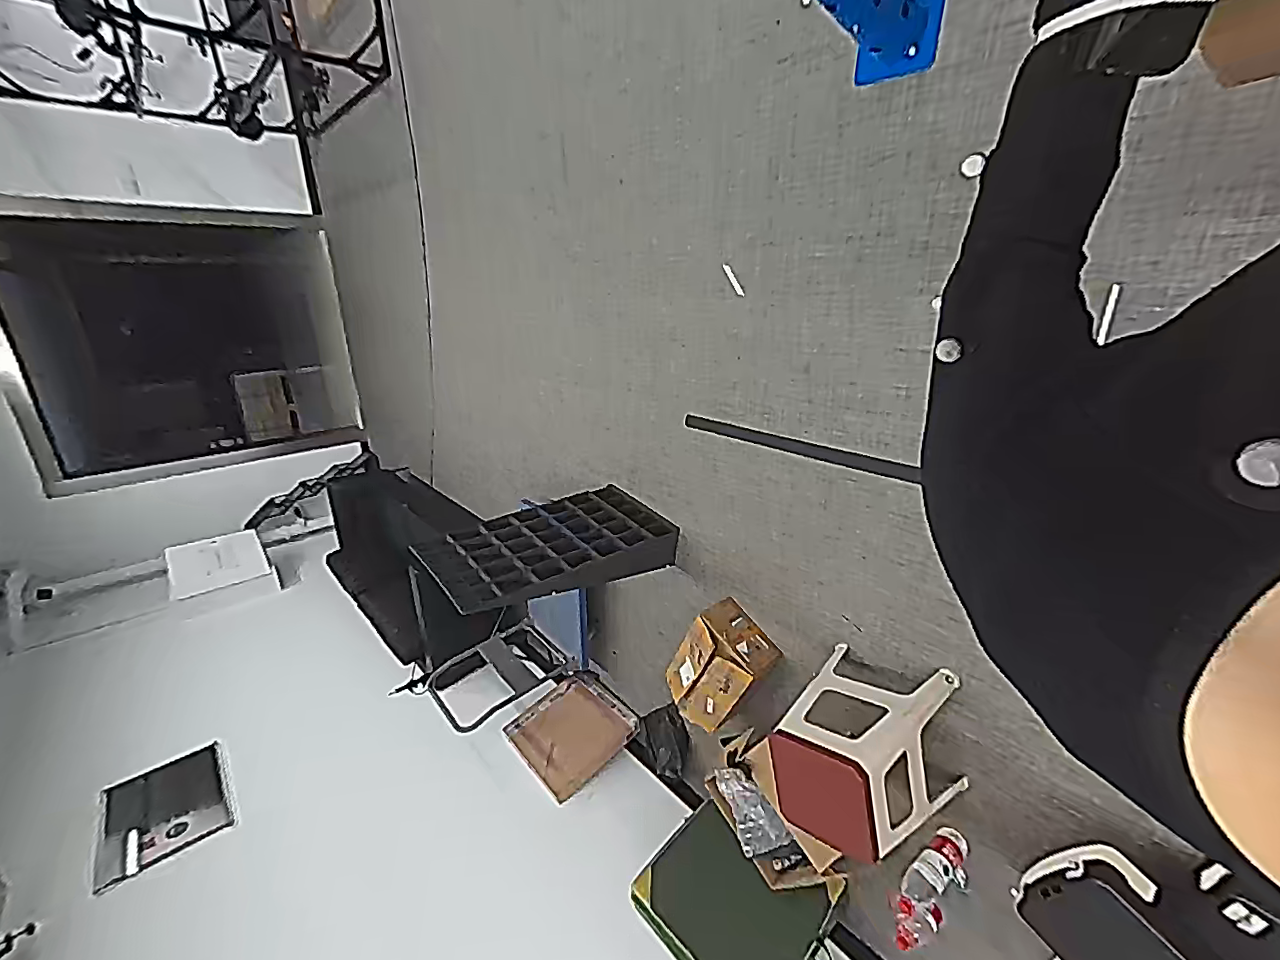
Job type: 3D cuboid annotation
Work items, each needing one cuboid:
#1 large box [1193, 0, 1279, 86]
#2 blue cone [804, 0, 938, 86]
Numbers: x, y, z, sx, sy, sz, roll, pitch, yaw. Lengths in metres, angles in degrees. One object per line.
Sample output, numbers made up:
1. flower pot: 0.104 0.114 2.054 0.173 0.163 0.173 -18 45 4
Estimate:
1. large box: 0.551 -0.442 0.230 0.408 0.320 0.320 14 117 46
2. blue cone: 0.483 -1.034 1.194 0.192 0.380 0.193 26 123 45
